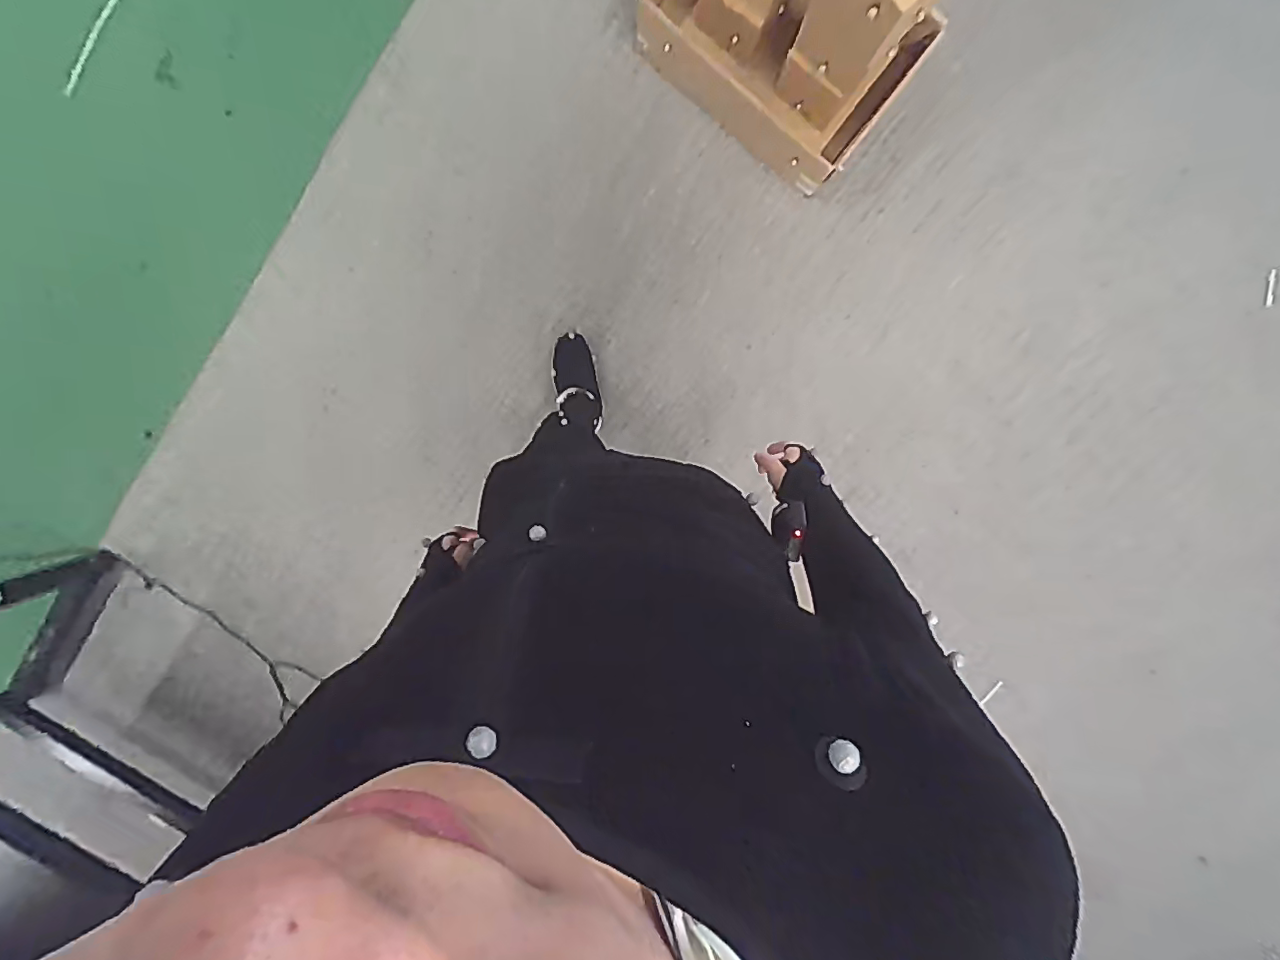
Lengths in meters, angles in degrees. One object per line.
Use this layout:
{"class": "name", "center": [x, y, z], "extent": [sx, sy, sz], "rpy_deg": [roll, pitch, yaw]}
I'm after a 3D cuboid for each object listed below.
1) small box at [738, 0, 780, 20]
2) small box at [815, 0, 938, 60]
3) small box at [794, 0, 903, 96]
{"class": "small box", "center": [0.261, -1.123, 1.118], "extent": [0.168, 0.176, 0.179], "rpy_deg": [35, 99, -7]}
{"class": "small box", "center": [0.450, -0.914, 0.976], "extent": [0.168, 0.176, 0.179], "rpy_deg": [-41, 96, 8]}
{"class": "small box", "center": [0.456, -0.959, 1.137], "extent": [0.179, 0.176, 0.168], "rpy_deg": [41, 99, -5]}
